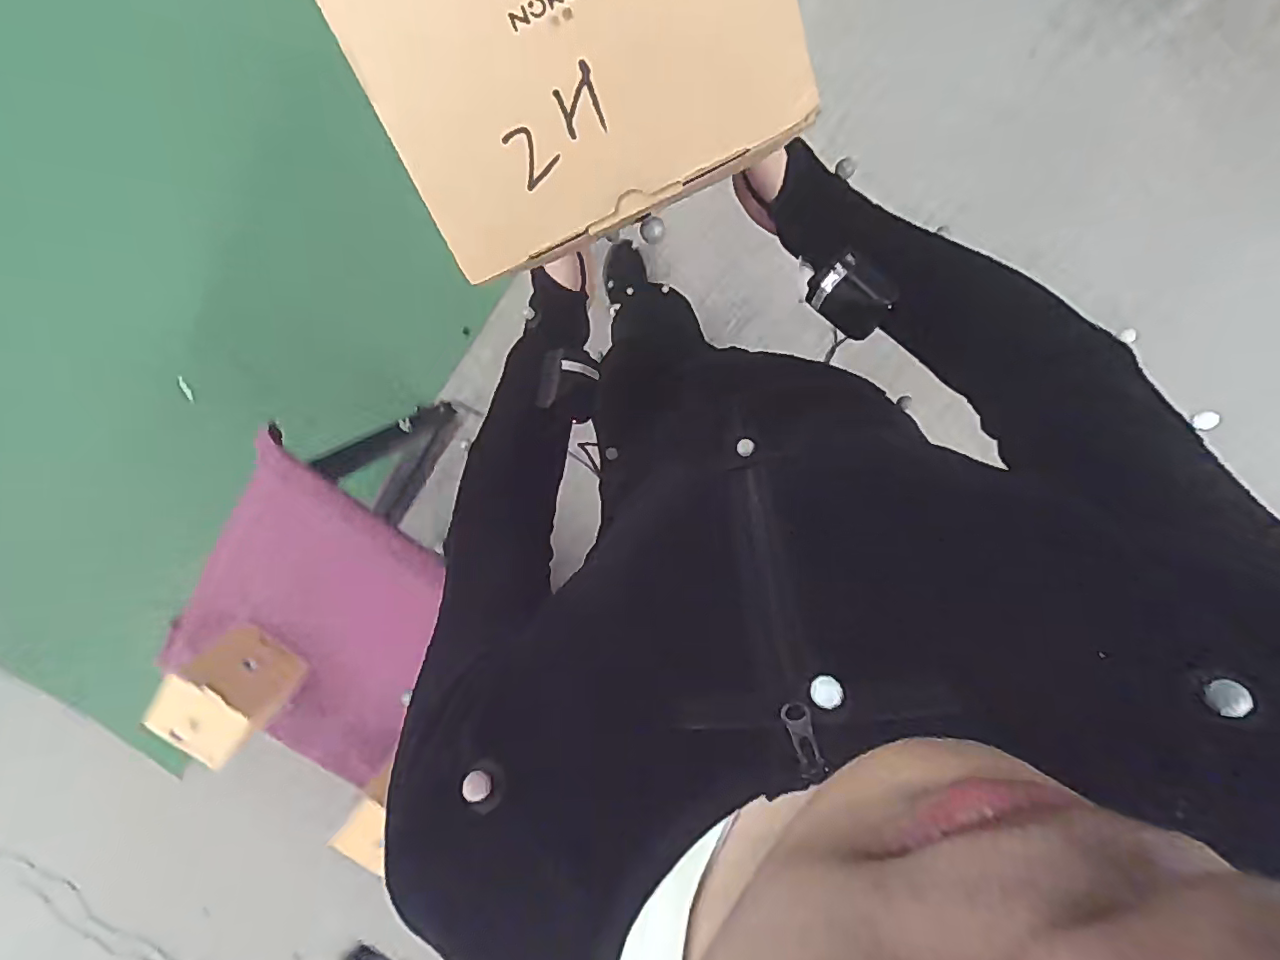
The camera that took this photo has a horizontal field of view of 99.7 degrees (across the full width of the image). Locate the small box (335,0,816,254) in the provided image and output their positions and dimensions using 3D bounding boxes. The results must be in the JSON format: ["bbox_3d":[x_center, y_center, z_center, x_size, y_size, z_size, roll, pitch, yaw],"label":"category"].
[{"bbox_3d":[-0.031,-0.233,0.268,0.168,0.176,0.179,-19,113,14],"label":"small box"}]

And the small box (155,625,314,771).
[{"bbox_3d":[-0.803,0.430,1.090,0.168,0.176,0.179,38,109,-6],"label":"small box"}]

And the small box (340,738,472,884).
[{"bbox_3d":[-0.481,0.689,1.141,0.168,0.176,0.179,37,110,-5],"label":"small box"}]
